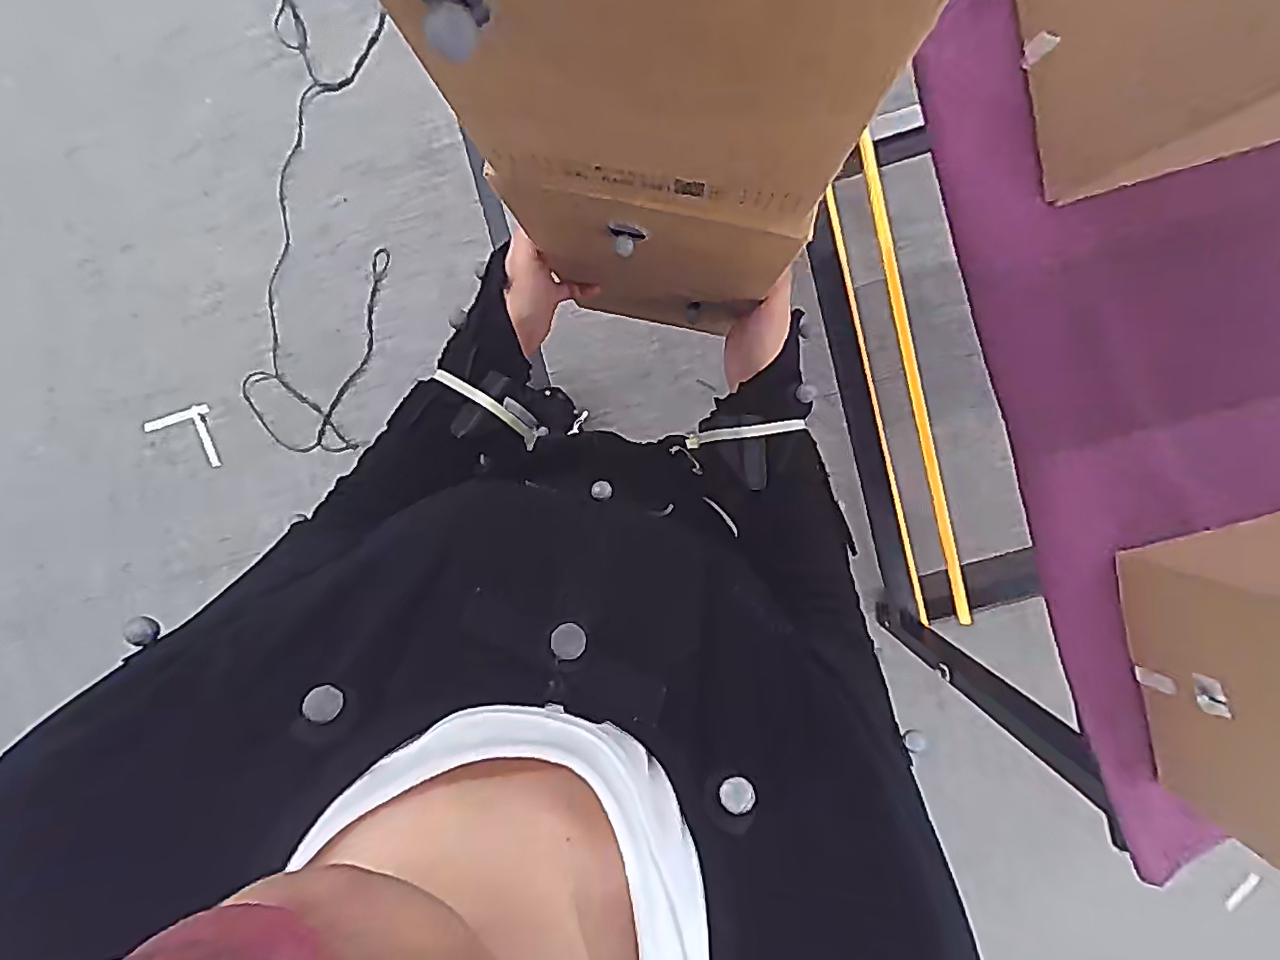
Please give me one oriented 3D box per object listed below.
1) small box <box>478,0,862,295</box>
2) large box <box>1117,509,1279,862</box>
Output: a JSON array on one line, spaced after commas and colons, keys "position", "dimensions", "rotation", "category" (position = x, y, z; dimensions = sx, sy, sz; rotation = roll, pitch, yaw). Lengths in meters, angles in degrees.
[{"position": [0.021, -0.231, 0.345], "dimensions": [0.179, 0.176, 0.168], "rotation": [12, 96, 0], "category": "small box"}, {"position": [0.788, 0.190, 0.498], "dimensions": [0.408, 0.320, 0.320], "rotation": [-16, 96, 0], "category": "large box"}]
